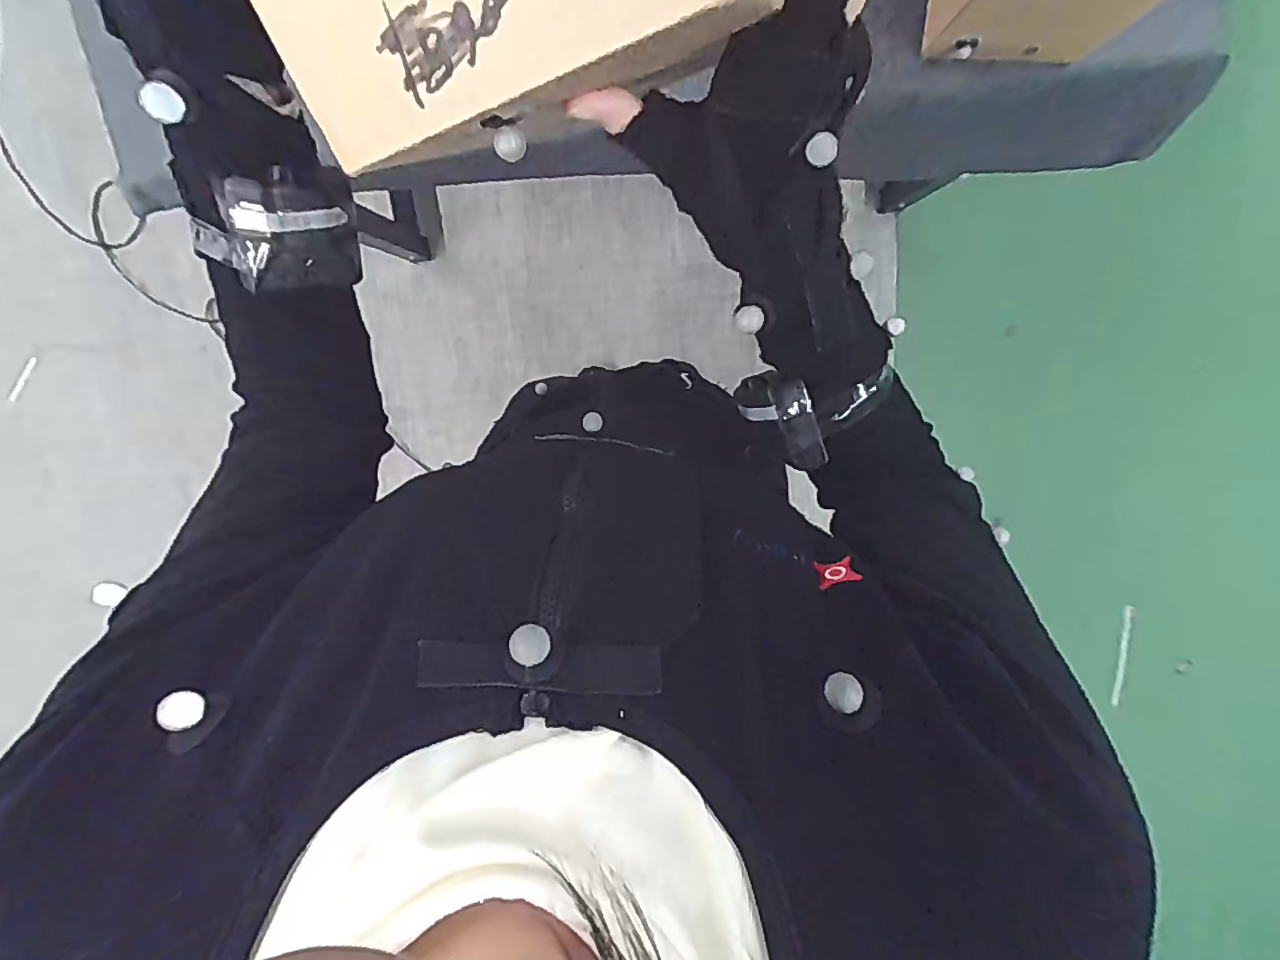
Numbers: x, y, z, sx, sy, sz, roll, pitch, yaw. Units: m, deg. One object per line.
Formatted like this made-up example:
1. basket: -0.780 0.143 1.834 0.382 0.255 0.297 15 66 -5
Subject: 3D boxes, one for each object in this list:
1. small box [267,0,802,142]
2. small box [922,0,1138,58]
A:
1. small box: -0.040 -0.251 0.199 0.168 0.176 0.179 -2 124 26
2. small box: 0.380 -0.518 0.483 0.168 0.176 0.179 3 102 0
